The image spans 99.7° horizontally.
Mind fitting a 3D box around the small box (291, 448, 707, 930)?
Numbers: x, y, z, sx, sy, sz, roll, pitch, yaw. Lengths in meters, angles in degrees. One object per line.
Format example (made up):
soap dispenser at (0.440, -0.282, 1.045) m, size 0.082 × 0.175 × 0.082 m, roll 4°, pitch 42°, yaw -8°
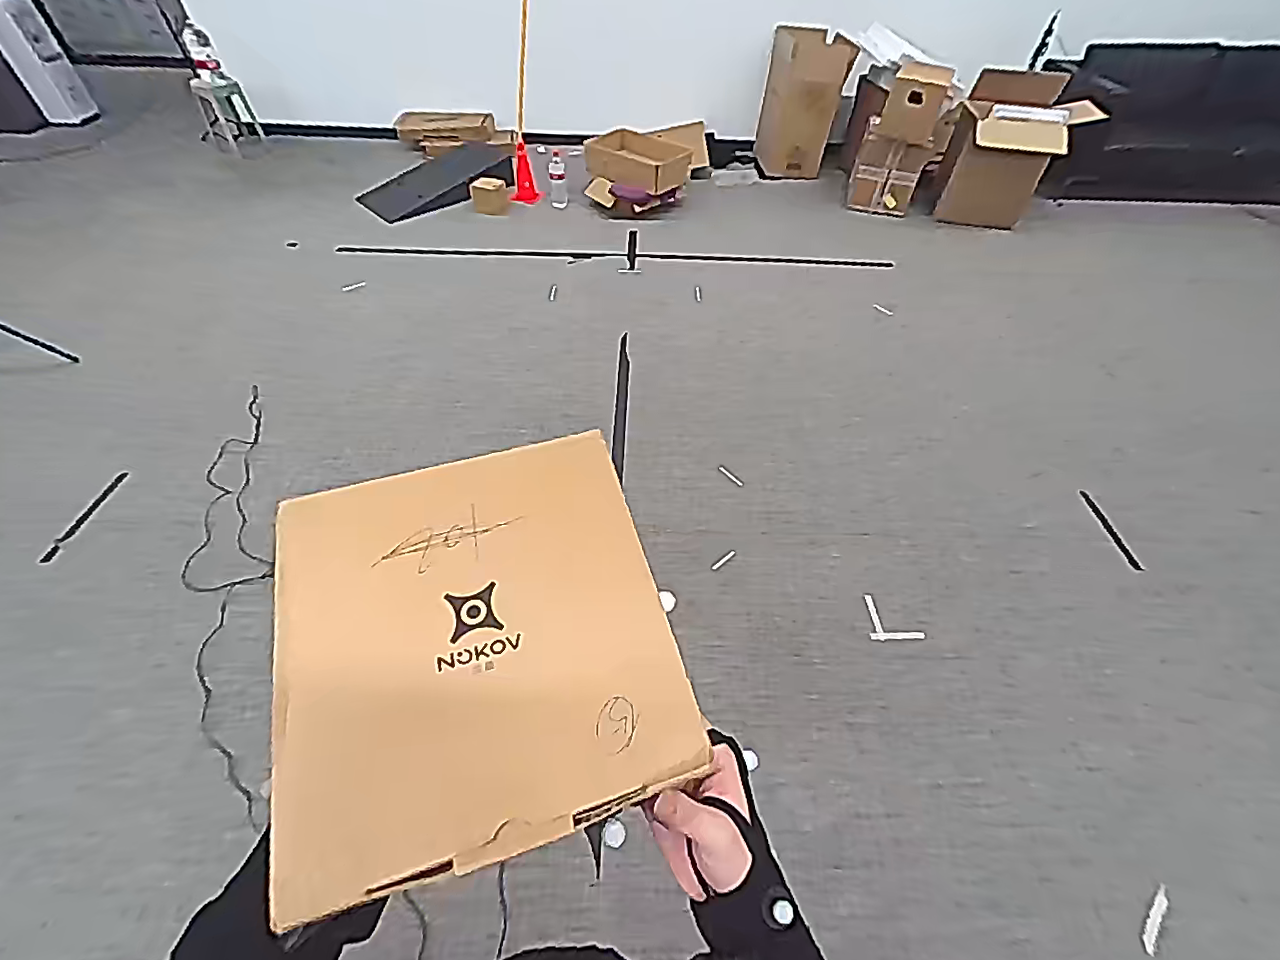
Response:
small box at (-0.076, 0.114, 0.318) m, size 0.168 × 0.176 × 0.179 m, roll -15°, pitch 59°, yaw -13°
